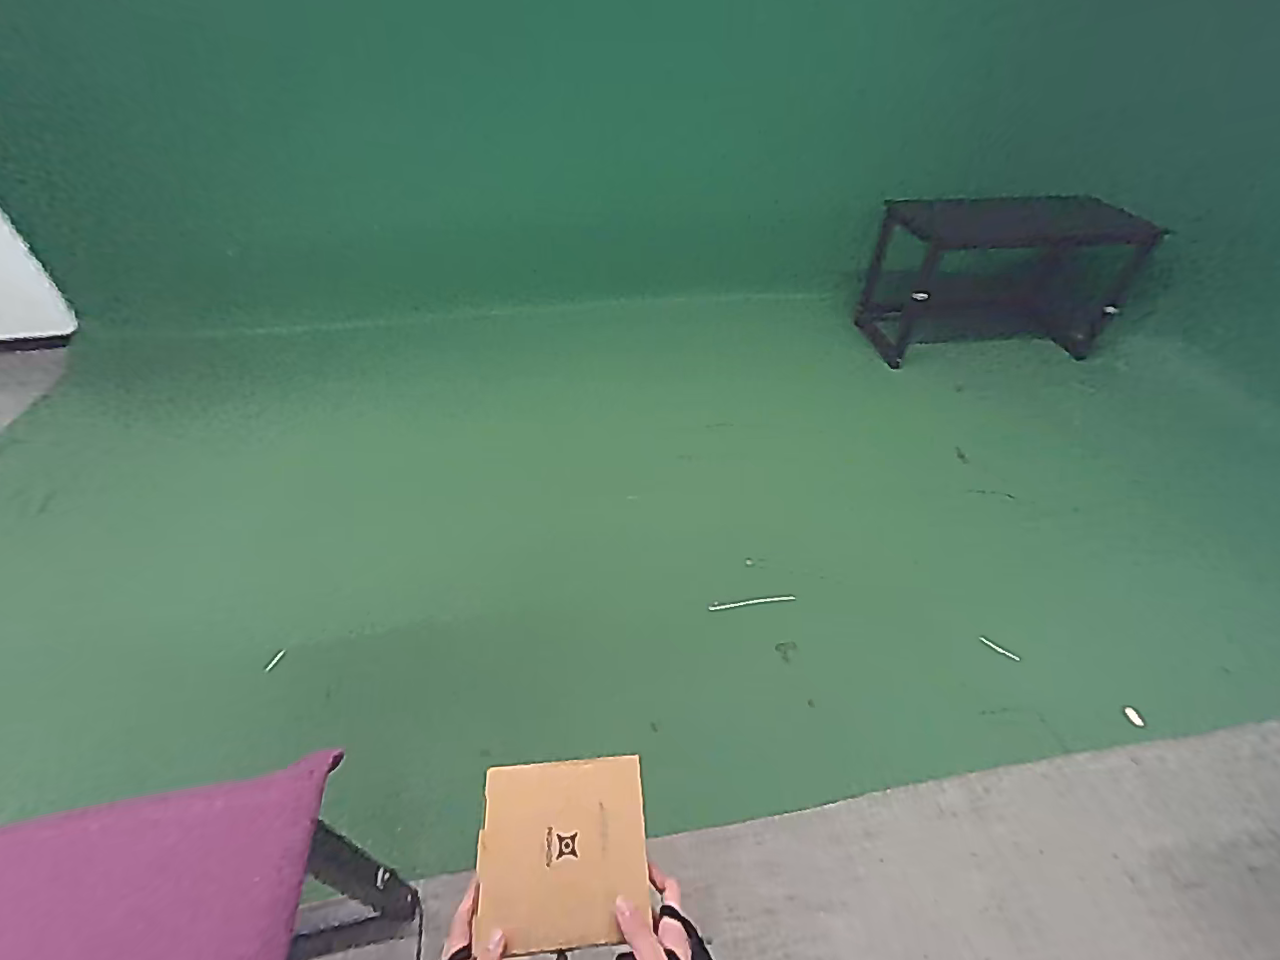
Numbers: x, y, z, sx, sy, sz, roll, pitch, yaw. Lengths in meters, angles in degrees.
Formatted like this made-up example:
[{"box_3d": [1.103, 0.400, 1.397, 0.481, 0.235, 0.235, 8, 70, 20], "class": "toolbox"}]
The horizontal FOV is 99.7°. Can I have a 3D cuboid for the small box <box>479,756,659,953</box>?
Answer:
[{"box_3d": [-0.073, 0.433, 0.625, 0.179, 0.176, 0.168, -2, 50, -4], "class": "small box"}]
